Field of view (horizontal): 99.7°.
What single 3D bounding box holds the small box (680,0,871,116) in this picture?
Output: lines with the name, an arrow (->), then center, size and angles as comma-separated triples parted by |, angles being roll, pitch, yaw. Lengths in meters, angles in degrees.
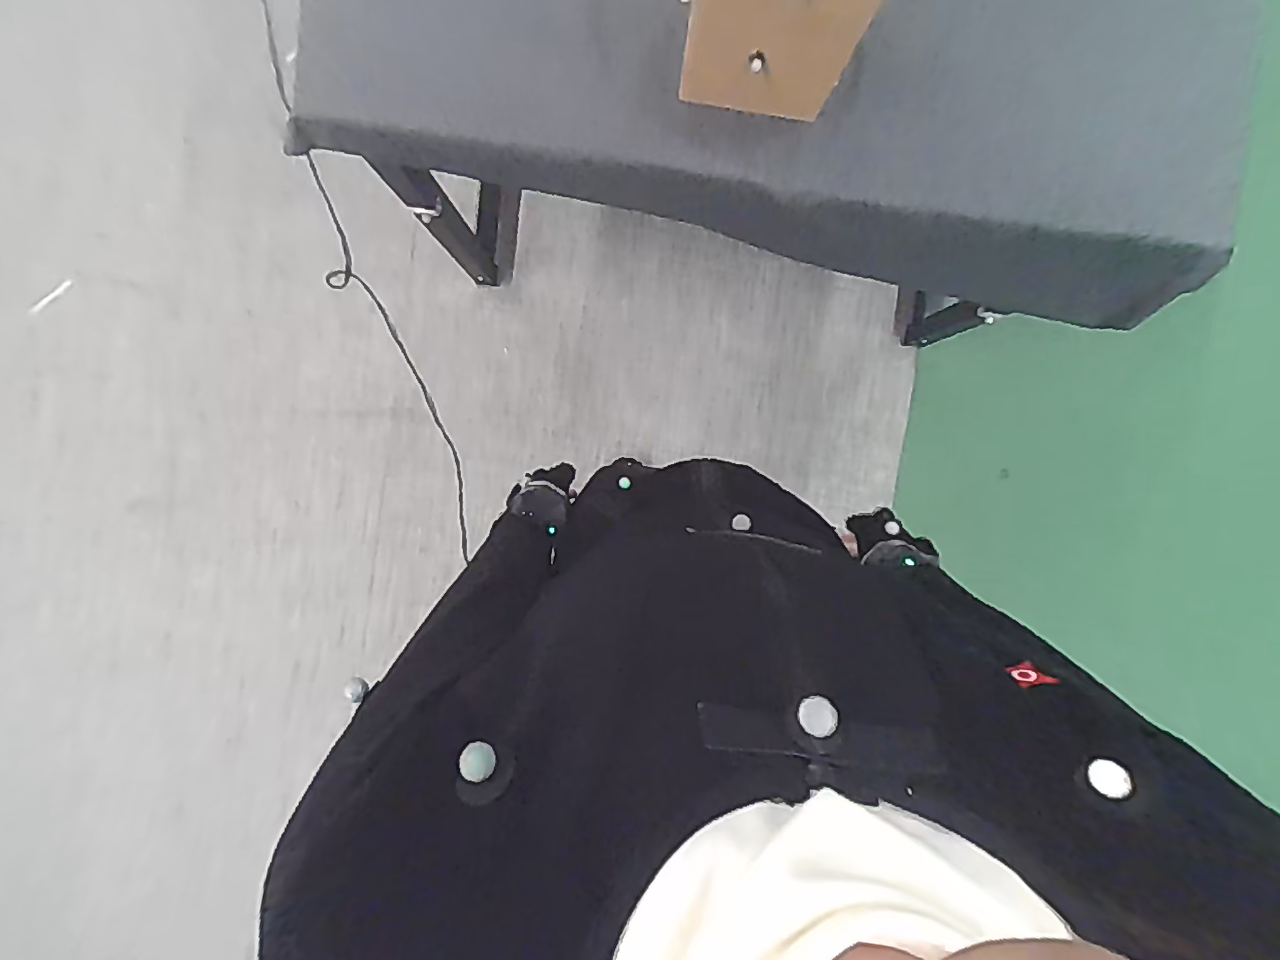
small box -> 0.147, -0.544, 0.599 | 0.179, 0.176, 0.168 | 8, 92, -1
